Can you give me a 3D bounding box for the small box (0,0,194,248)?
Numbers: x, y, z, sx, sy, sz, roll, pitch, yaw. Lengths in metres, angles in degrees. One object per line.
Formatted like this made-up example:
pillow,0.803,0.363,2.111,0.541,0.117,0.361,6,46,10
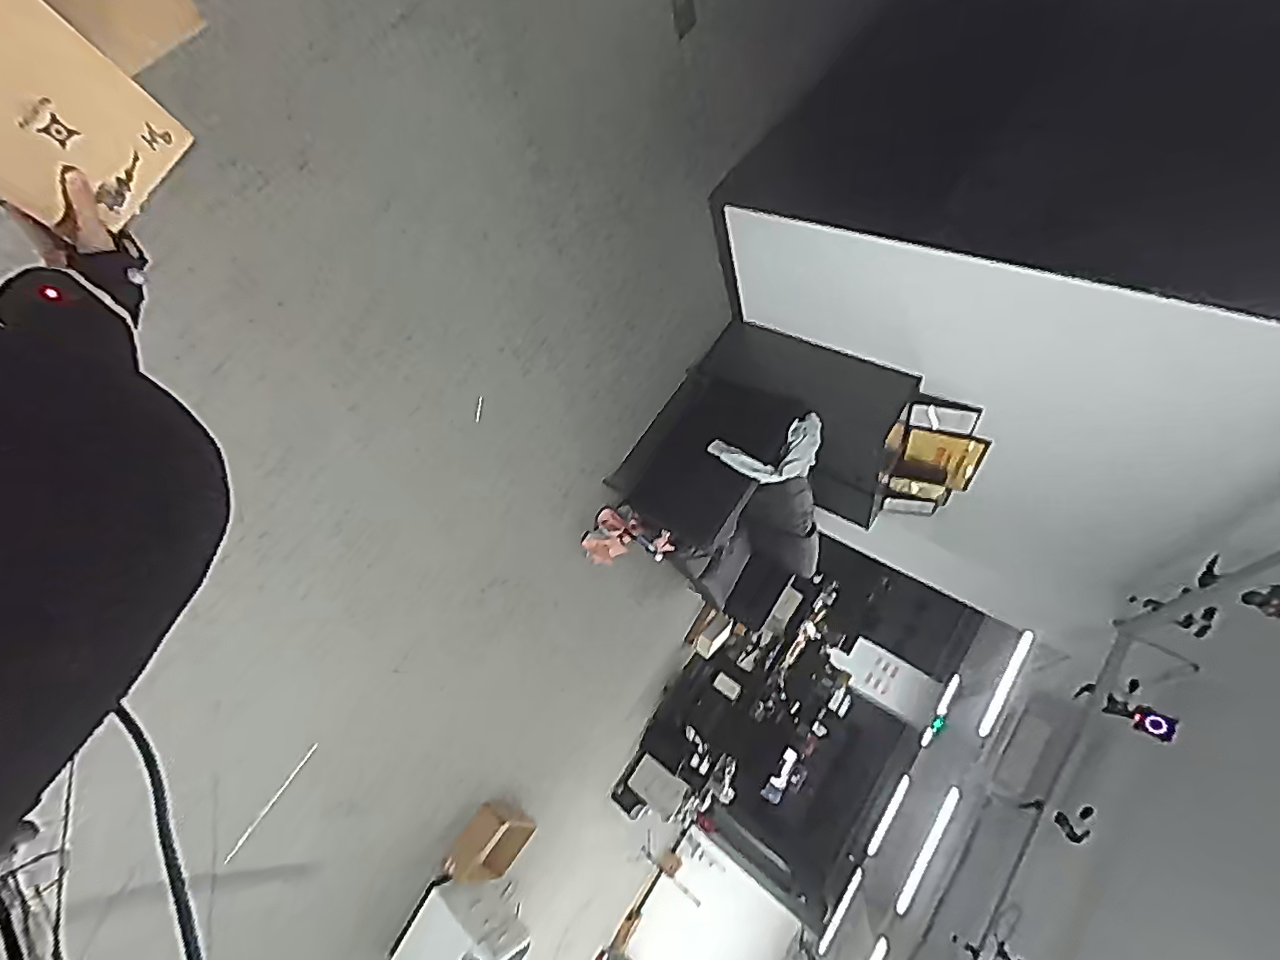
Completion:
small box,-0.611,-0.367,0.525,0.168,0.176,0.179,-58,158,-8
